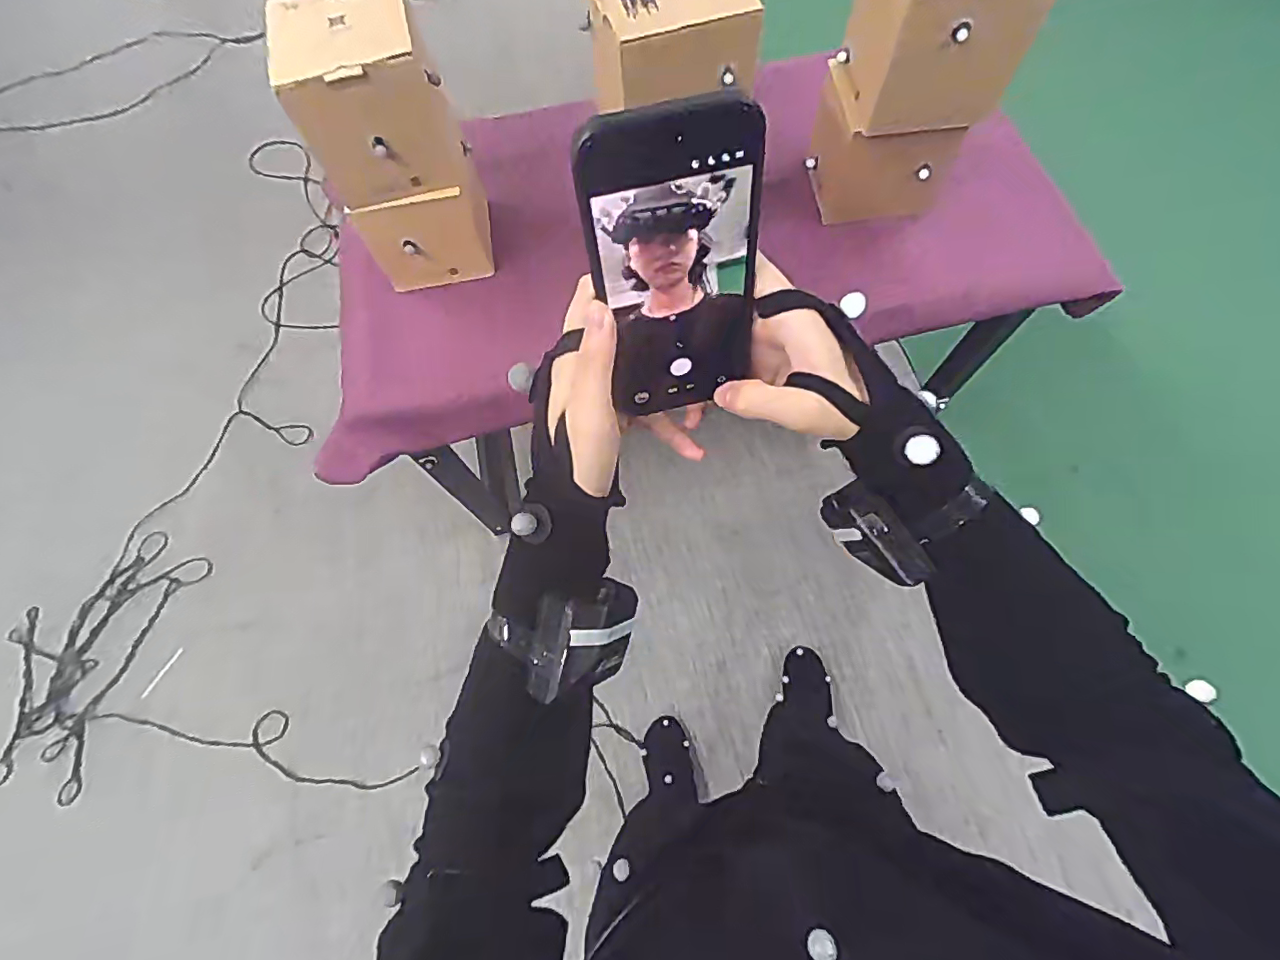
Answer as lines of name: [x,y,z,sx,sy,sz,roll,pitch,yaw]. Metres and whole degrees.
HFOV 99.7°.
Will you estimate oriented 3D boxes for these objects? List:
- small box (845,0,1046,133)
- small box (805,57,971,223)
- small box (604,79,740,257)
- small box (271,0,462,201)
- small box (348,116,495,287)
small box: [0.386,-0.591,0.712,0.179,0.176,0.168,-6,68,0]
small box: [0.383,-0.543,0.869,0.179,0.176,0.168,-5,68,1]
small box: [0.047,-0.490,0.865,0.179,0.176,0.168,-11,68,-1]
small box: [-0.350,-0.501,0.716,0.168,0.176,0.179,-15,69,-4]
small box: [-0.340,-0.432,0.865,0.168,0.176,0.179,-11,68,-1]
